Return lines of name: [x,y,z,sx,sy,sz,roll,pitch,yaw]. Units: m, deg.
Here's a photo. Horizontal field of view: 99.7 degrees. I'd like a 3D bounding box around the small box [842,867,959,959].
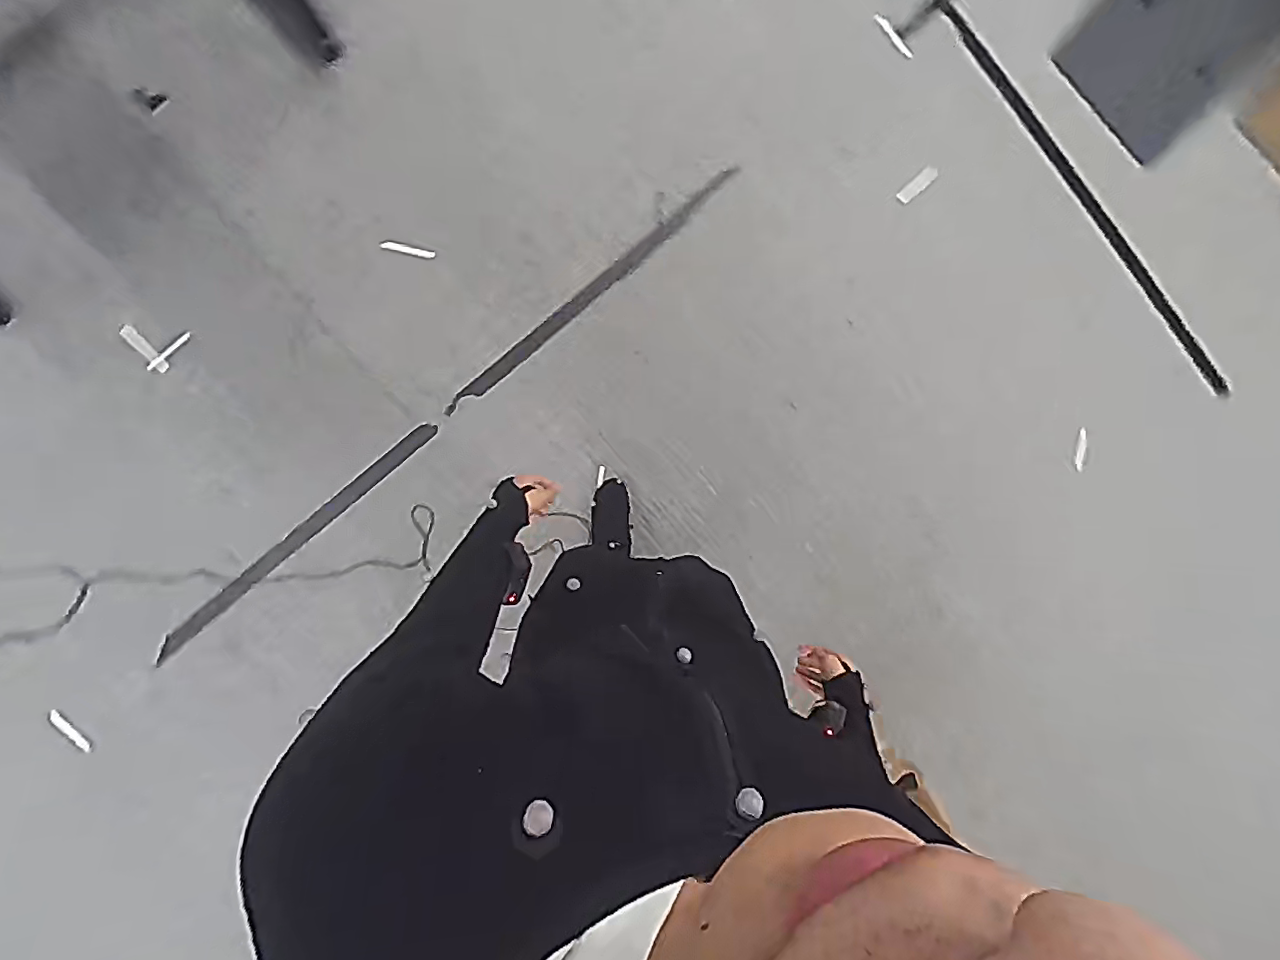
small box: [0.536,0.917,1.069,0.168,0.176,0.179,-33,97,-1]
